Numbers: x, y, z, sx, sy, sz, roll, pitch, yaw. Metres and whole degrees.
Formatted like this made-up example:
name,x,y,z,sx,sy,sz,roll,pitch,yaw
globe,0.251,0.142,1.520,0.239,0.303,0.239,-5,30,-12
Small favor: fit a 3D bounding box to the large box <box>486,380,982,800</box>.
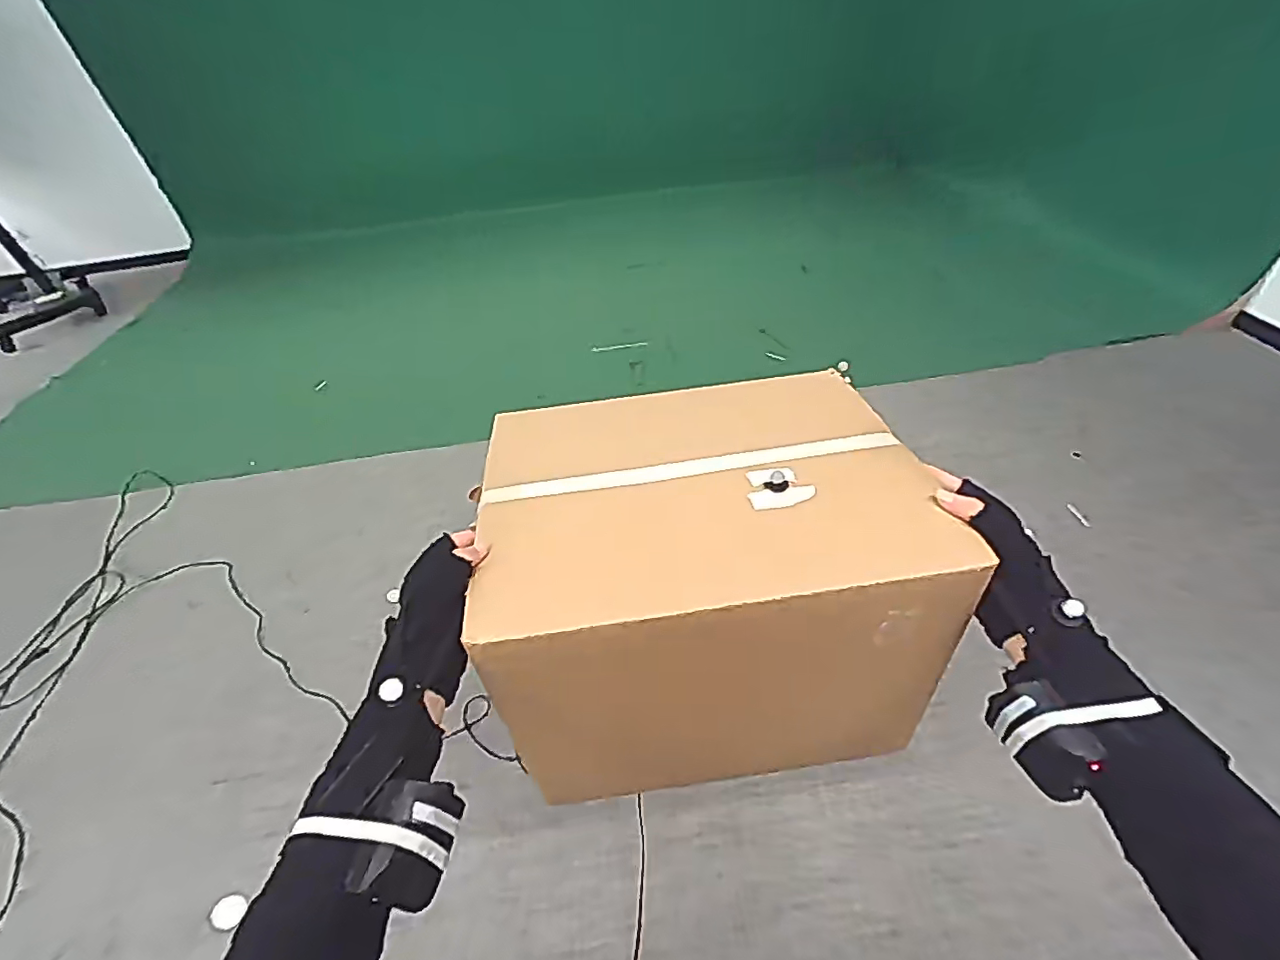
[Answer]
name,x,y,z,sx,sy,sz,roll,pitch,yaw
large box,0.068,0.115,0.622,0.408,0.320,0.320,-8,40,-3
